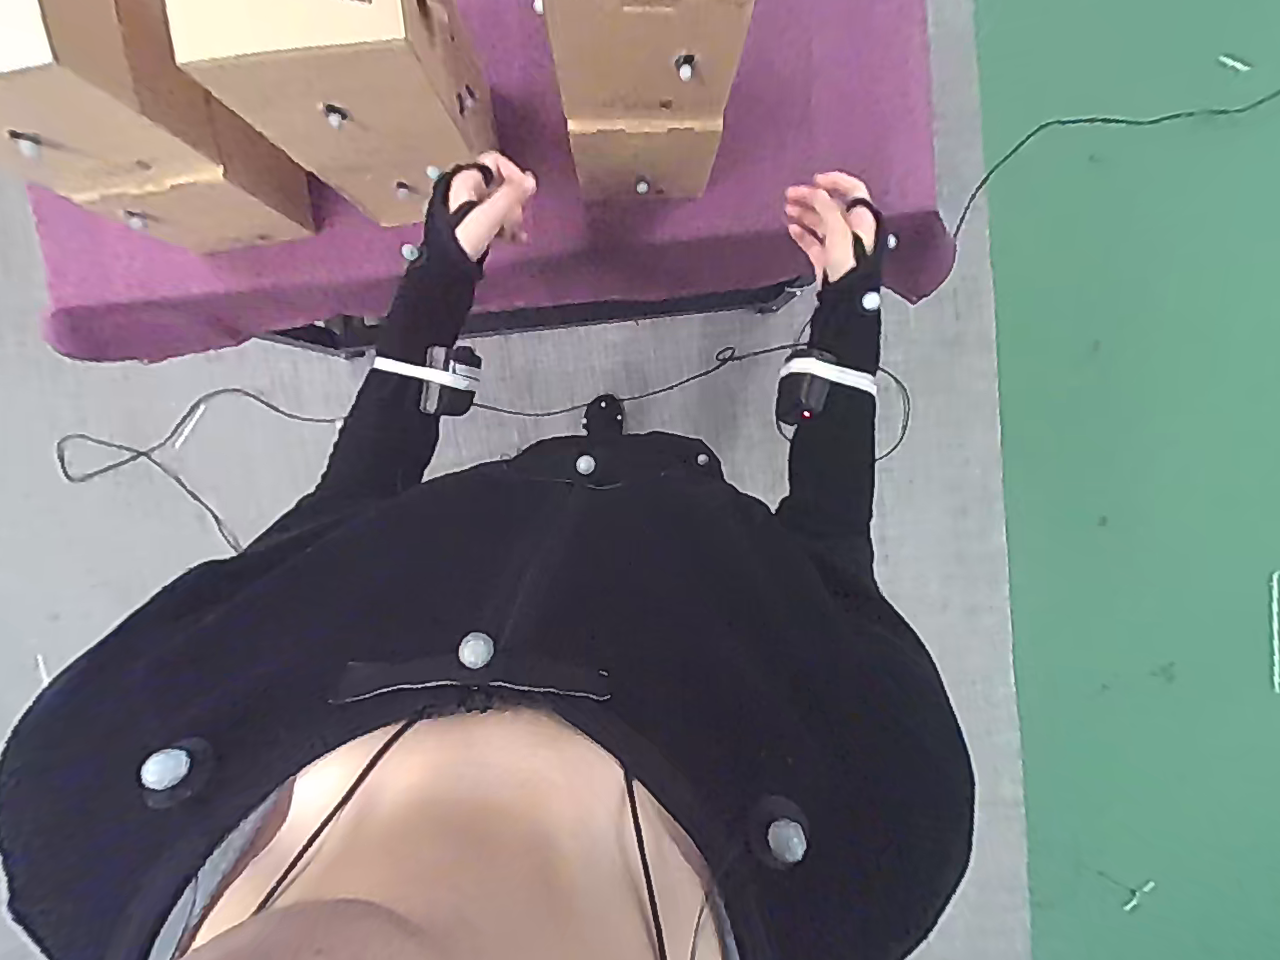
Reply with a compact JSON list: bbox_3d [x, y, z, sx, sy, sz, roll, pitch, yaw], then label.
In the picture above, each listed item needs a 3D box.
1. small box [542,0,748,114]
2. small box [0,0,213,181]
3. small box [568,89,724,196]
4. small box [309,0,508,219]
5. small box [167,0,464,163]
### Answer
[{"bbox_3d":[0.007,-0.456,0.473,0.168,0.176,0.179,1,94,-1],"label":"small box"},{"bbox_3d":[-0.526,-0.389,0.474,0.168,0.176,0.179,-10,94,0],"label":"small box"},{"bbox_3d":[0.005,-0.461,0.636,0.168,0.176,0.179,-1,95,1],"label":"small box"},{"bbox_3d":[-0.270,-0.428,0.637,0.179,0.176,0.168,-7,95,0],"label":"small box"},{"bbox_3d":[-0.266,-0.407,0.473,0.179,0.176,0.168,-6,95,1],"label":"small box"}]
